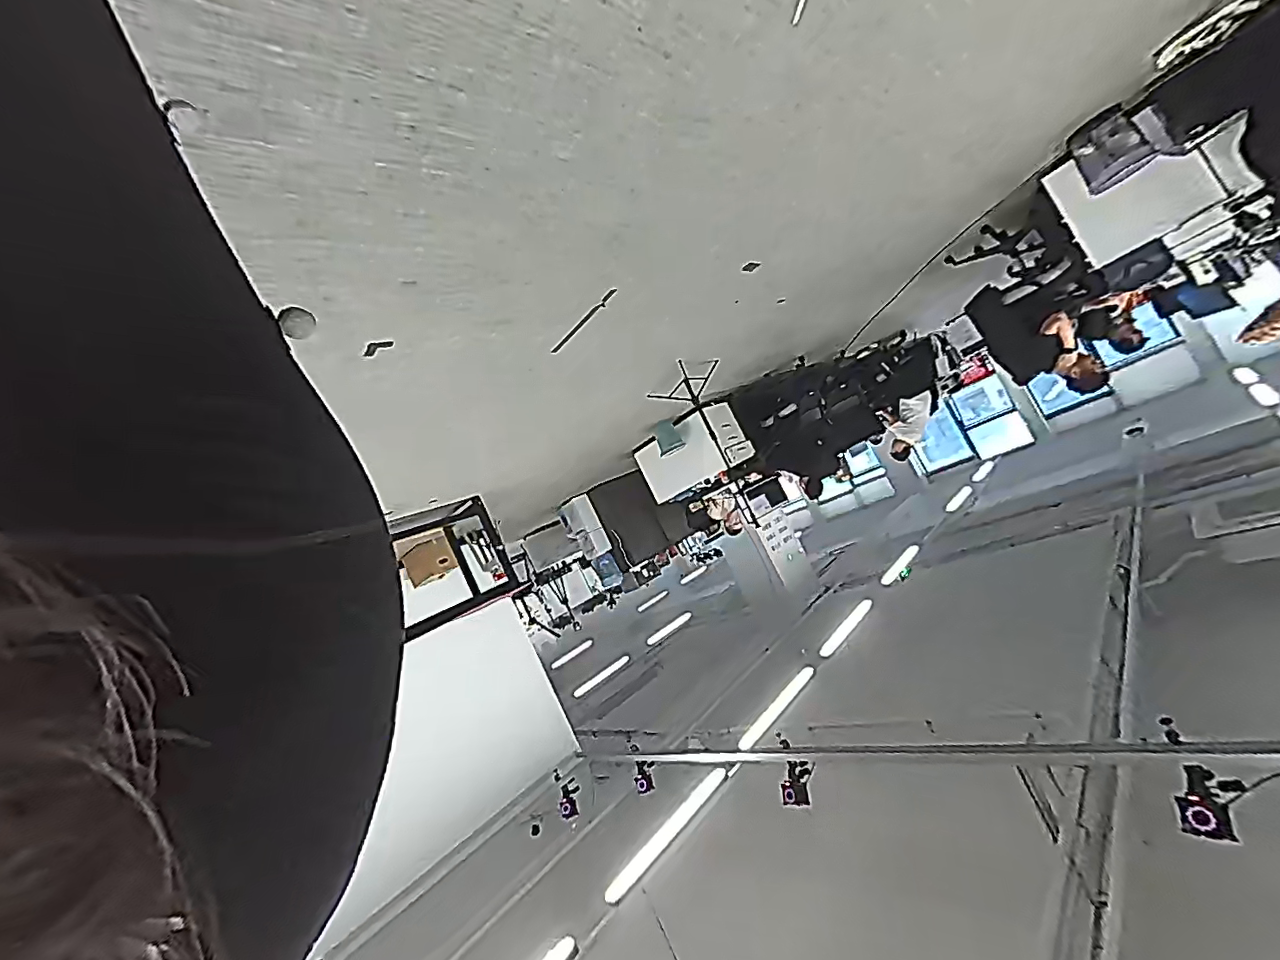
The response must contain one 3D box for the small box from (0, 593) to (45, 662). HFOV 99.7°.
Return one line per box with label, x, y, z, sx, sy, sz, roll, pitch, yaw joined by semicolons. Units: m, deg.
small box;-1.646;0.398;1.351;0.168;0.176;0.179;-20;173;-44
